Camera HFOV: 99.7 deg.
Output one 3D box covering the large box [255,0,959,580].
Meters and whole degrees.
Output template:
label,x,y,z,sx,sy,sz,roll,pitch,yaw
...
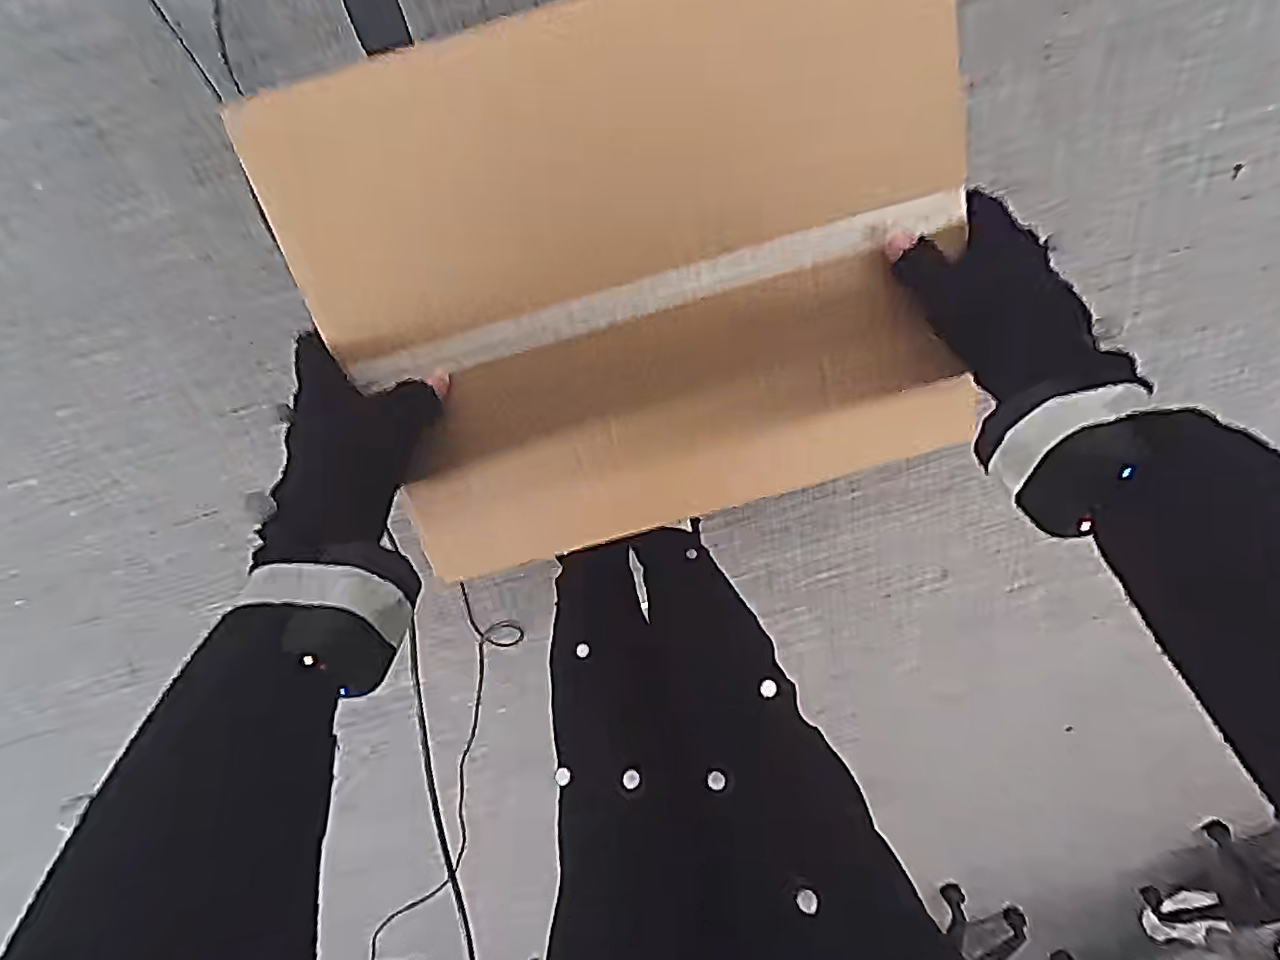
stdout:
label,x,y,z,sx,sy,sz,roll,pitch,yaw
large box,-0.005,-0.164,0.493,0.408,0.320,0.320,-16,112,2
